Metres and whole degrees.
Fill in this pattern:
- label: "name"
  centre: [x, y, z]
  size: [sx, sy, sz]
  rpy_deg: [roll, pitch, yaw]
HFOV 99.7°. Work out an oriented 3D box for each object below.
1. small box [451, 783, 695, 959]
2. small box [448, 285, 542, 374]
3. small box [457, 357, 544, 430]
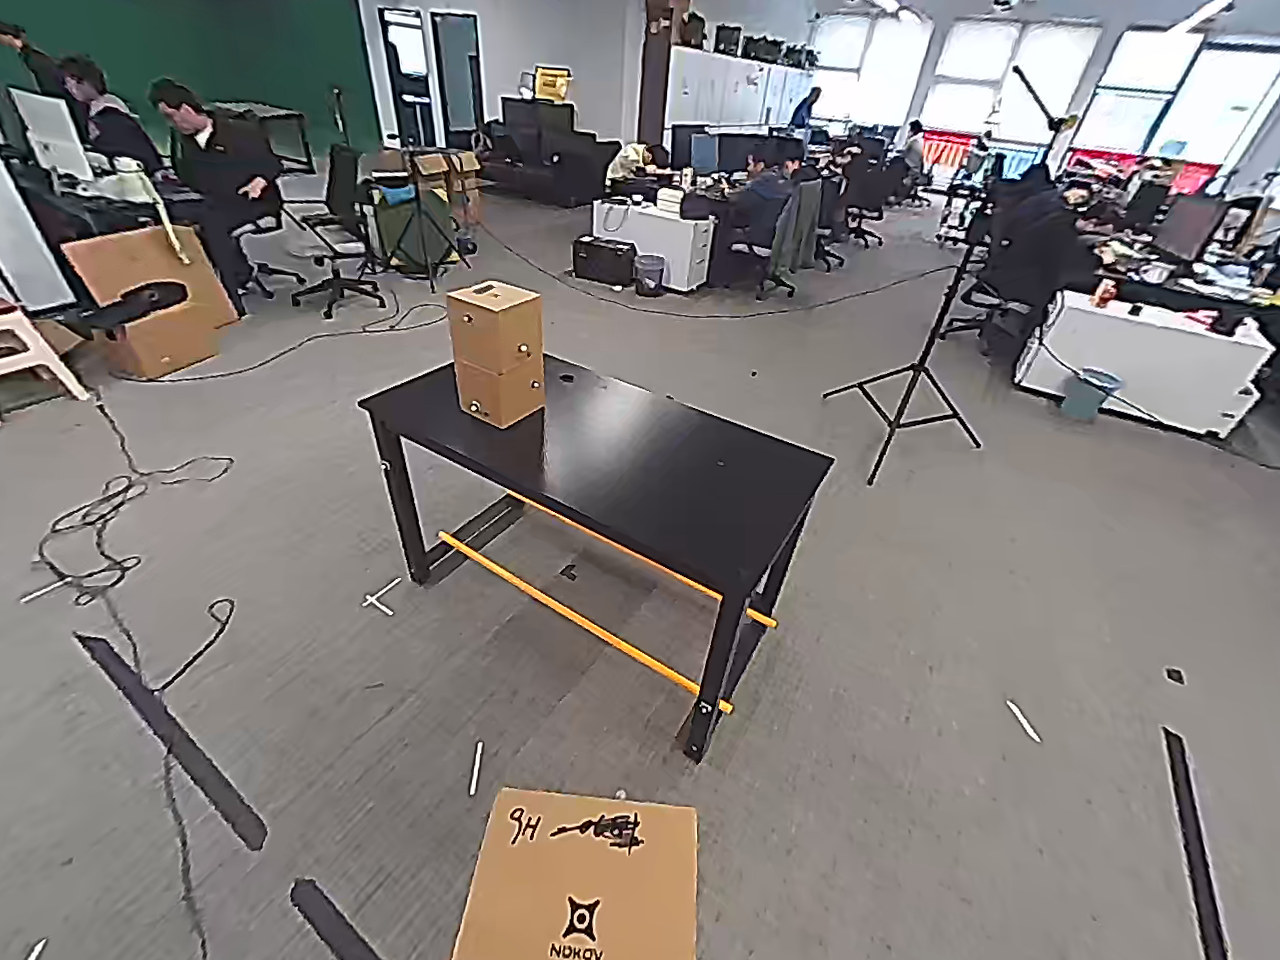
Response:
- label: "small box"
  centre: [-0.044, 0.372, 0.430]
  size: [0.168, 0.176, 0.179]
  rpy_deg: [4, 42, 3]
- label: "small box"
  centre: [-0.375, -0.396, 1.421]
  size: [0.179, 0.176, 0.168]
  rpy_deg: [23, 40, 22]
- label: "small box"
  centre: [-0.387, -0.265, 1.520]
  size: [0.168, 0.176, 0.179]
  rpy_deg: [23, 41, 23]
